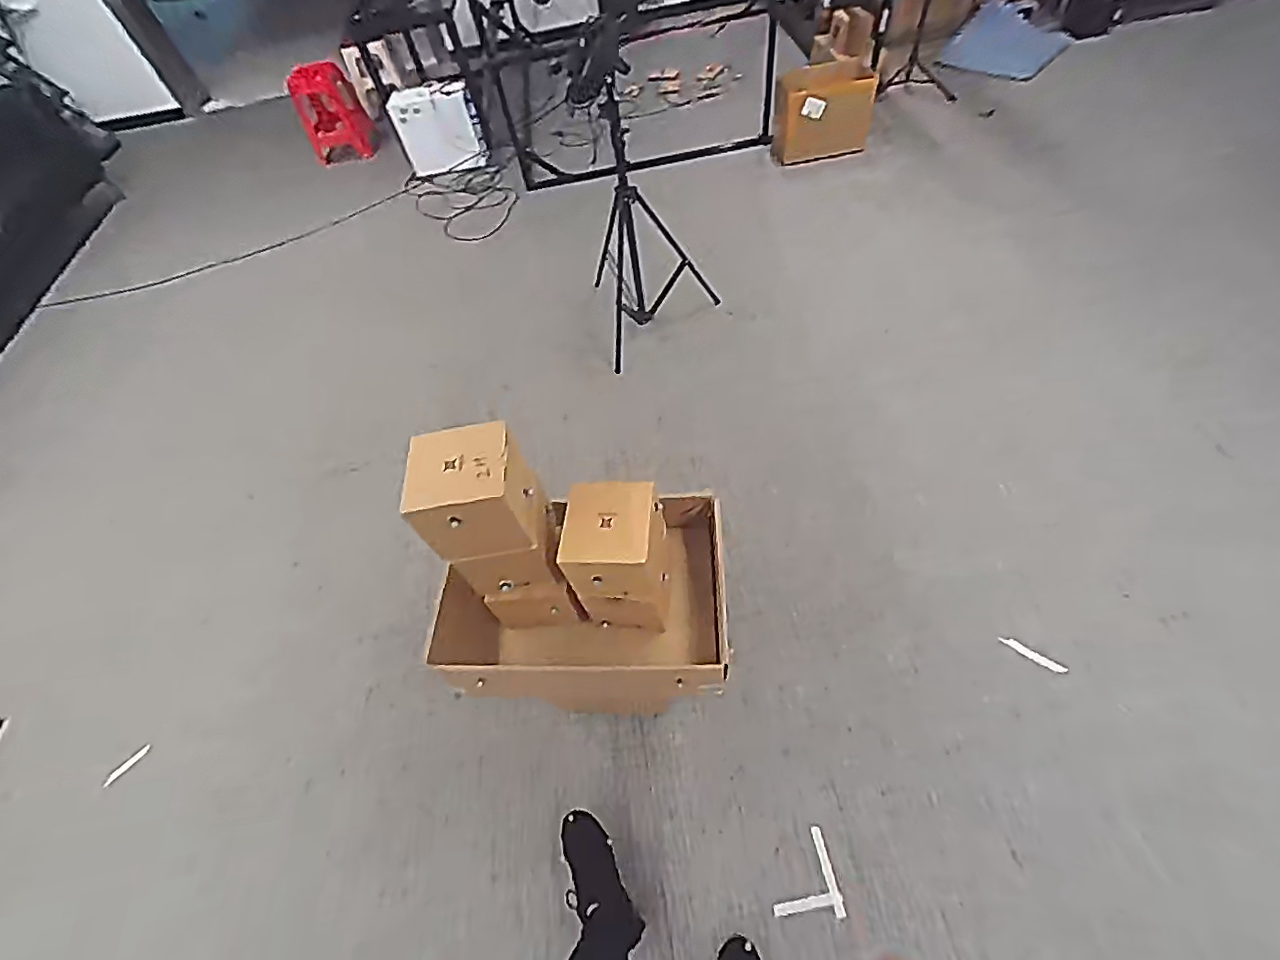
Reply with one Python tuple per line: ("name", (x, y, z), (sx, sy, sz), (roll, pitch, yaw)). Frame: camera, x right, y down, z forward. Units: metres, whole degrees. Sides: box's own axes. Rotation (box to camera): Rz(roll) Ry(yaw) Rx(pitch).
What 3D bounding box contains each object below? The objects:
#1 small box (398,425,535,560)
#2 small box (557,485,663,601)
("small box", (-0.297, 0.029, 0.964), (0.179, 0.176, 0.168), (-9, 55, 2))
("small box", (-0.048, 0.128, 1.059), (0.168, 0.176, 0.179), (-1, 54, 10))
